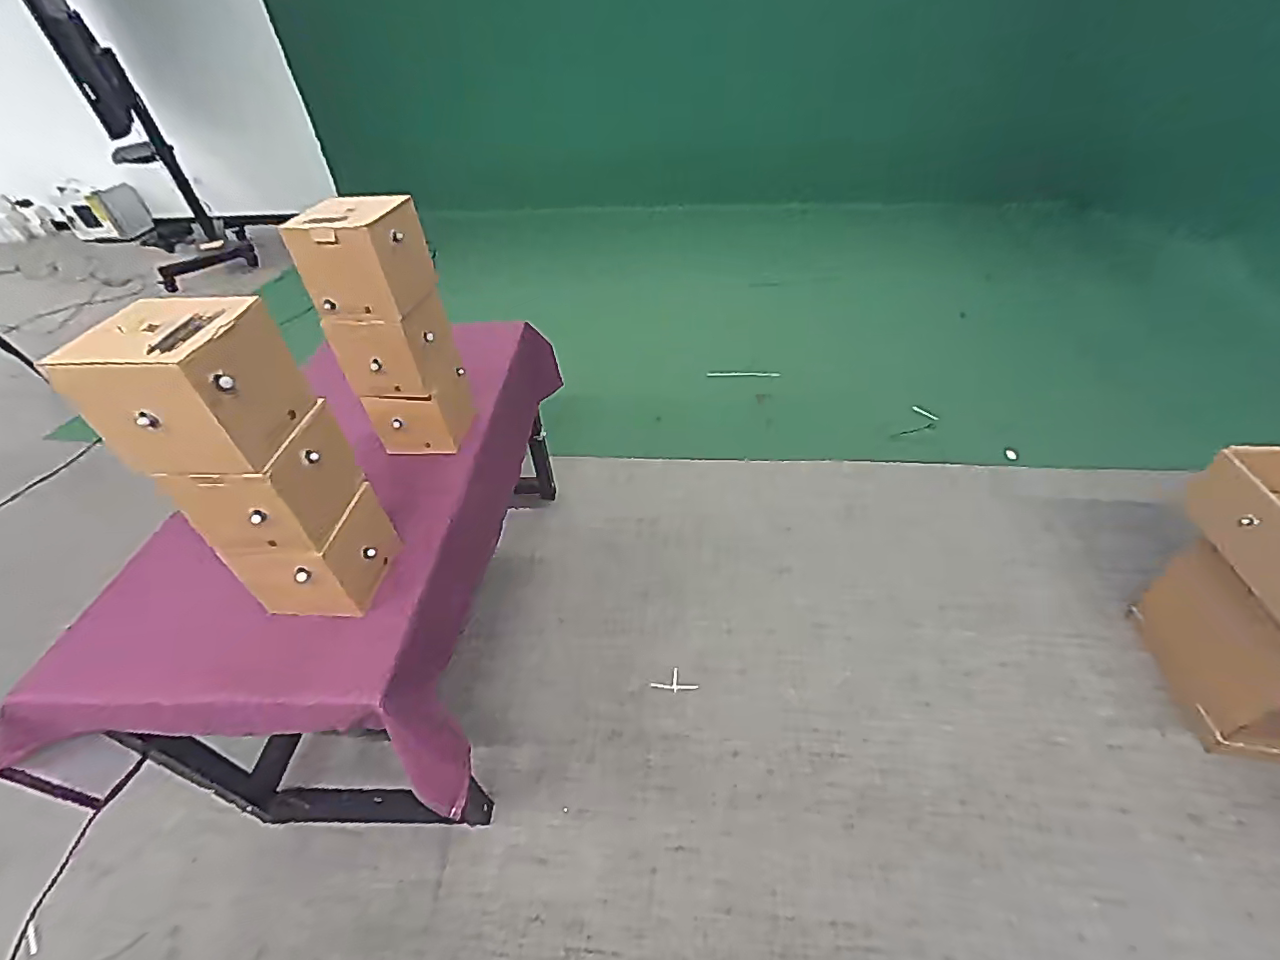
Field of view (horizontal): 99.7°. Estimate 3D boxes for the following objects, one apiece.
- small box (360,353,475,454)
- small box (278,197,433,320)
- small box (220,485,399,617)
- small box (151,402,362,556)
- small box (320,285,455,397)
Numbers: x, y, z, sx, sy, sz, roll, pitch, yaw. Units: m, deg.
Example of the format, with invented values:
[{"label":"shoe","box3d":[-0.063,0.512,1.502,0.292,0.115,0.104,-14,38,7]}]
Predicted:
[{"label":"small box","box3d":[-0.495,-0.172,1.237,0.168,0.176,0.179,-1,43,5]},{"label":"small box","box3d":[-0.515,-0.412,1.012,0.168,0.176,0.179,2,43,8]},{"label":"small box","box3d":[-0.548,0.122,0.930,0.179,0.176,0.168,0,43,6]},{"label":"small box","box3d":[-0.558,0.000,0.822,0.168,0.176,0.179,0,43,4]},{"label":"small box","box3d":[-0.507,-0.286,1.119,0.168,0.176,0.179,2,44,7]}]
